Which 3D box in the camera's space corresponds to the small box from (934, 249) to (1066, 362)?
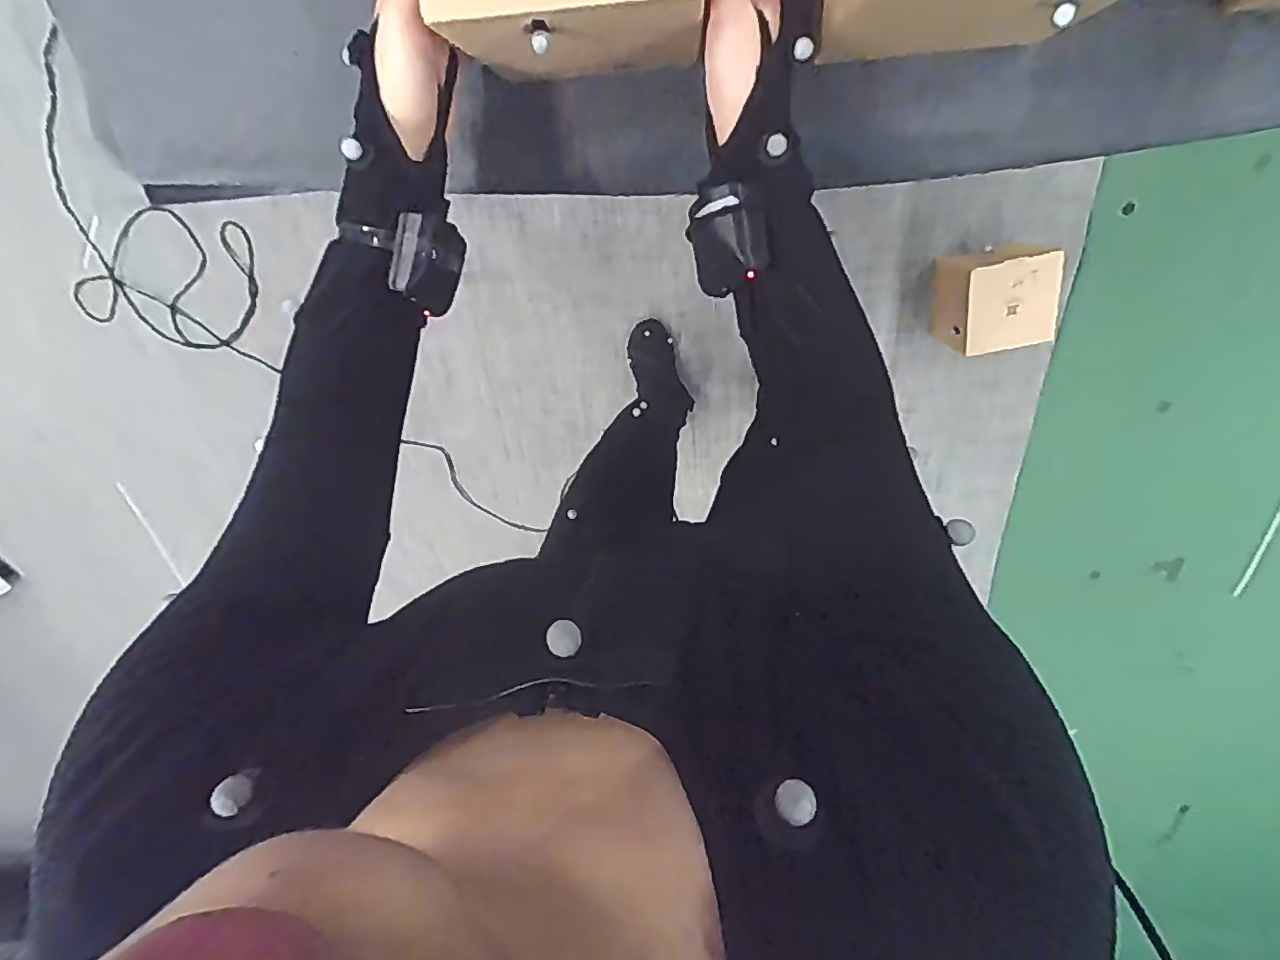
[{"bbox_3d":[0.725,-0.362,1.112,0.168,0.176,0.179,-9,117,9],"label":"small box"}]
